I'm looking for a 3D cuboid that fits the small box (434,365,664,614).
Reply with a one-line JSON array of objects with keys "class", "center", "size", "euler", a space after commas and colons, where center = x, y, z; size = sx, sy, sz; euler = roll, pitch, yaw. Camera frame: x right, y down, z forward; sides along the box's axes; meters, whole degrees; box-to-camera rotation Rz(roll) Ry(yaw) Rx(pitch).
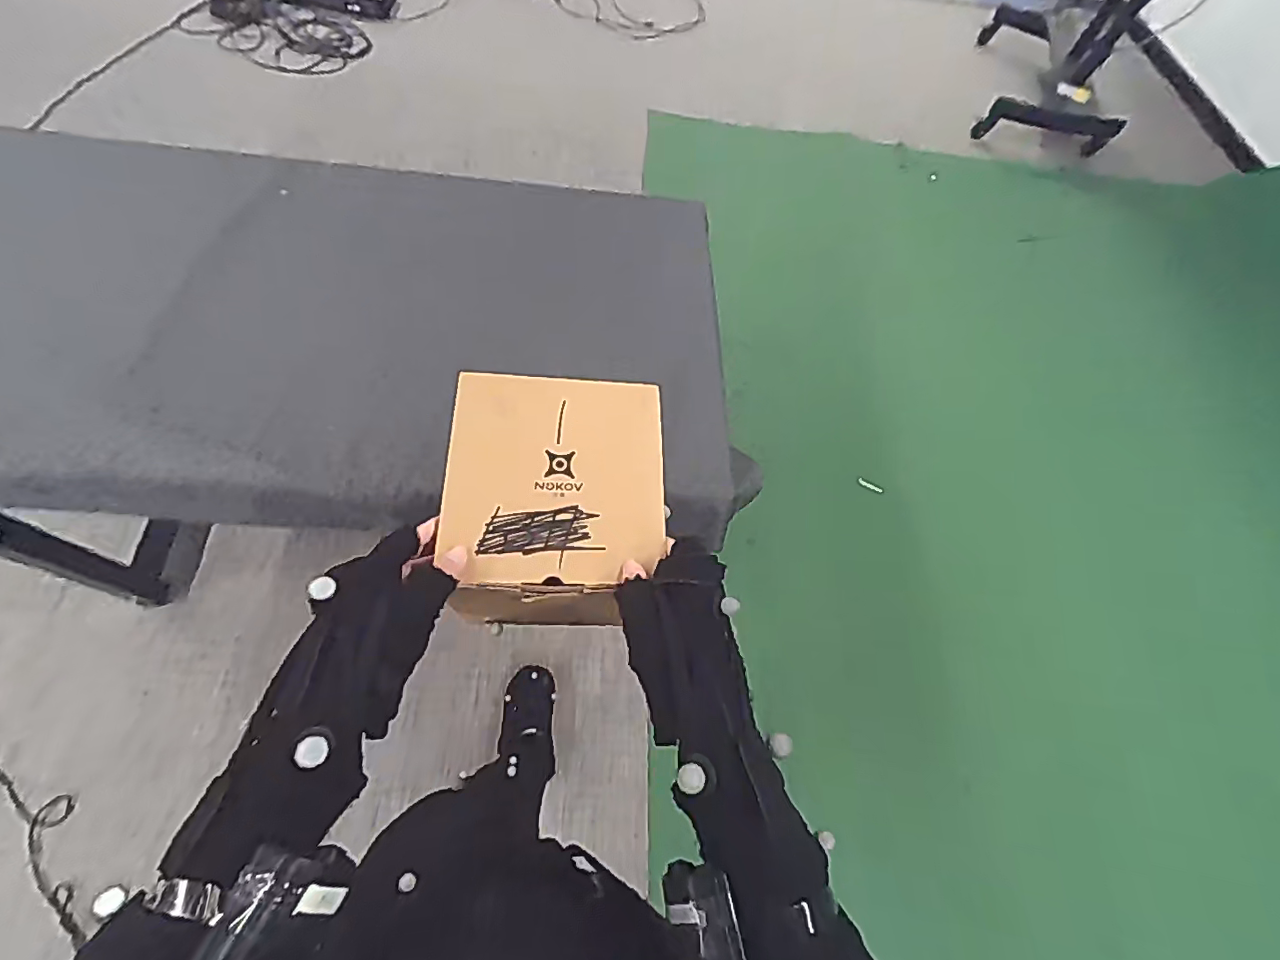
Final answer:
[{"class": "small box", "center": [-0.073, 0.021, 0.486], "size": [0.168, 0.176, 0.179], "euler": [2, 66, -8]}]
